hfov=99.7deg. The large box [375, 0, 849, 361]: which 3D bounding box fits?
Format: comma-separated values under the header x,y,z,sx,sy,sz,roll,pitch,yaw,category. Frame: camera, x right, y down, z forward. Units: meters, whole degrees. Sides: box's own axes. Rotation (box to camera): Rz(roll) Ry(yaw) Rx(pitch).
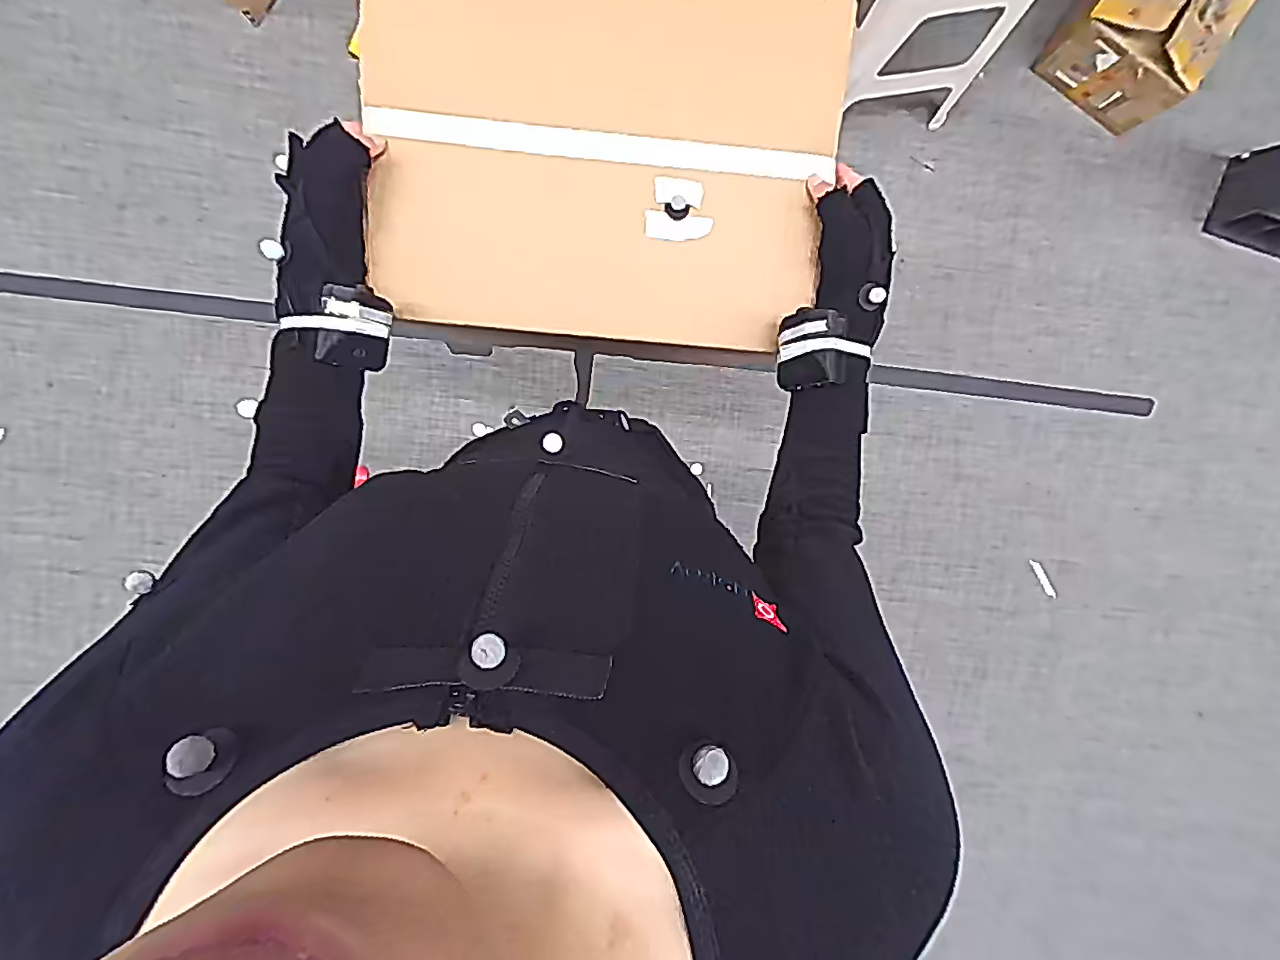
x,y,z,sx,sy,sz,roll,pitch,yaw,category
-0.038,-0.313,0.618,0.408,0.320,0.320,4,100,-4,large box
